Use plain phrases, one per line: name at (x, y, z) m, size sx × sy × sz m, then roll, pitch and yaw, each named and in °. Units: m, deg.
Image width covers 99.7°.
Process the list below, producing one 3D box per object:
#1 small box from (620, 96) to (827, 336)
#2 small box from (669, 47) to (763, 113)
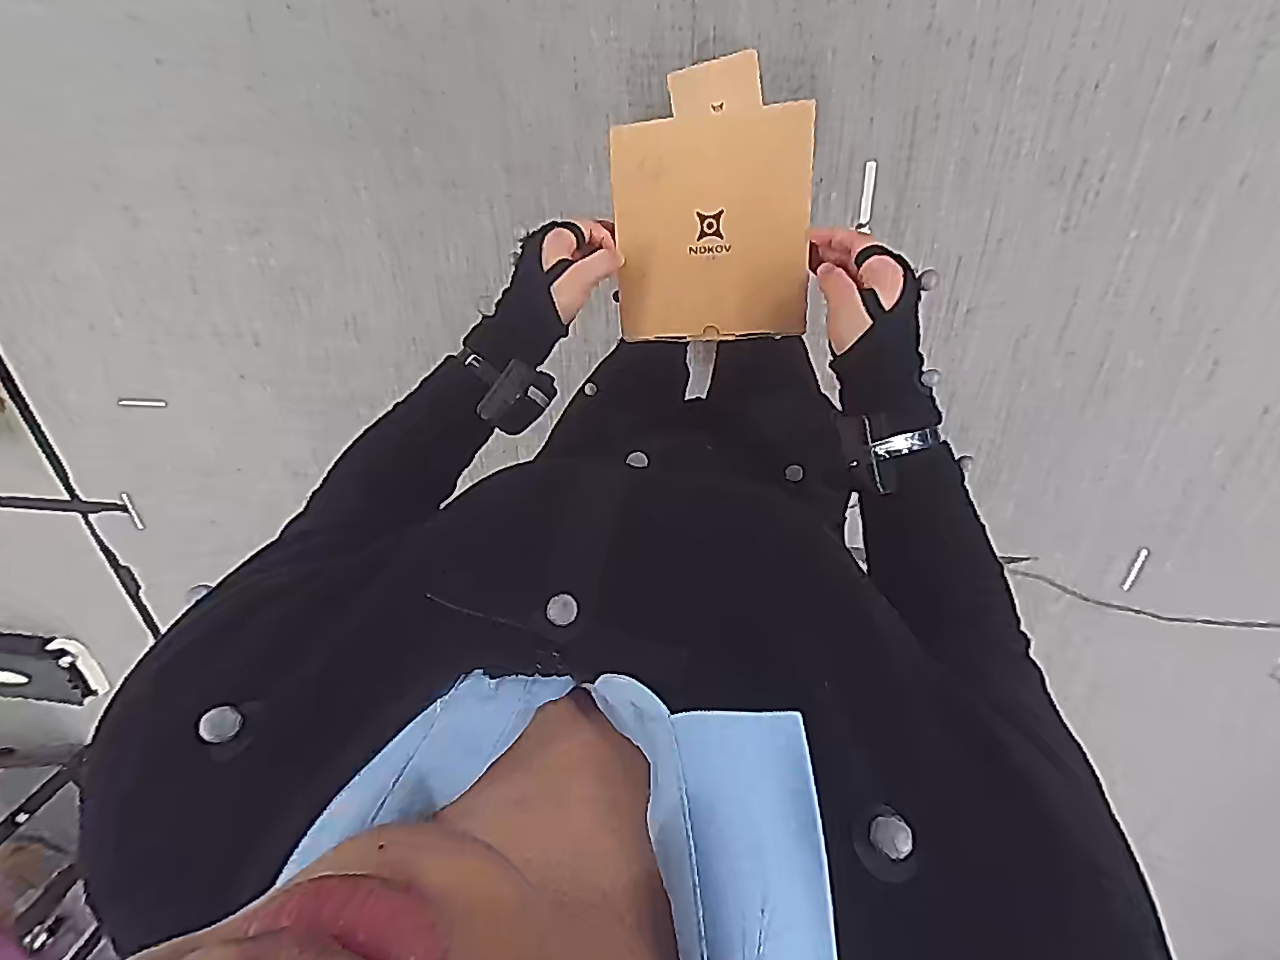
small box at (0.081, -0.237, 0.526) m, size 0.168 × 0.176 × 0.179 m, roll 1°, pitch 110°, yaw 13°
small box at (0.155, -0.716, 1.075) m, size 0.168 × 0.176 × 0.179 m, roll -8°, pitch 116°, yaw 11°
